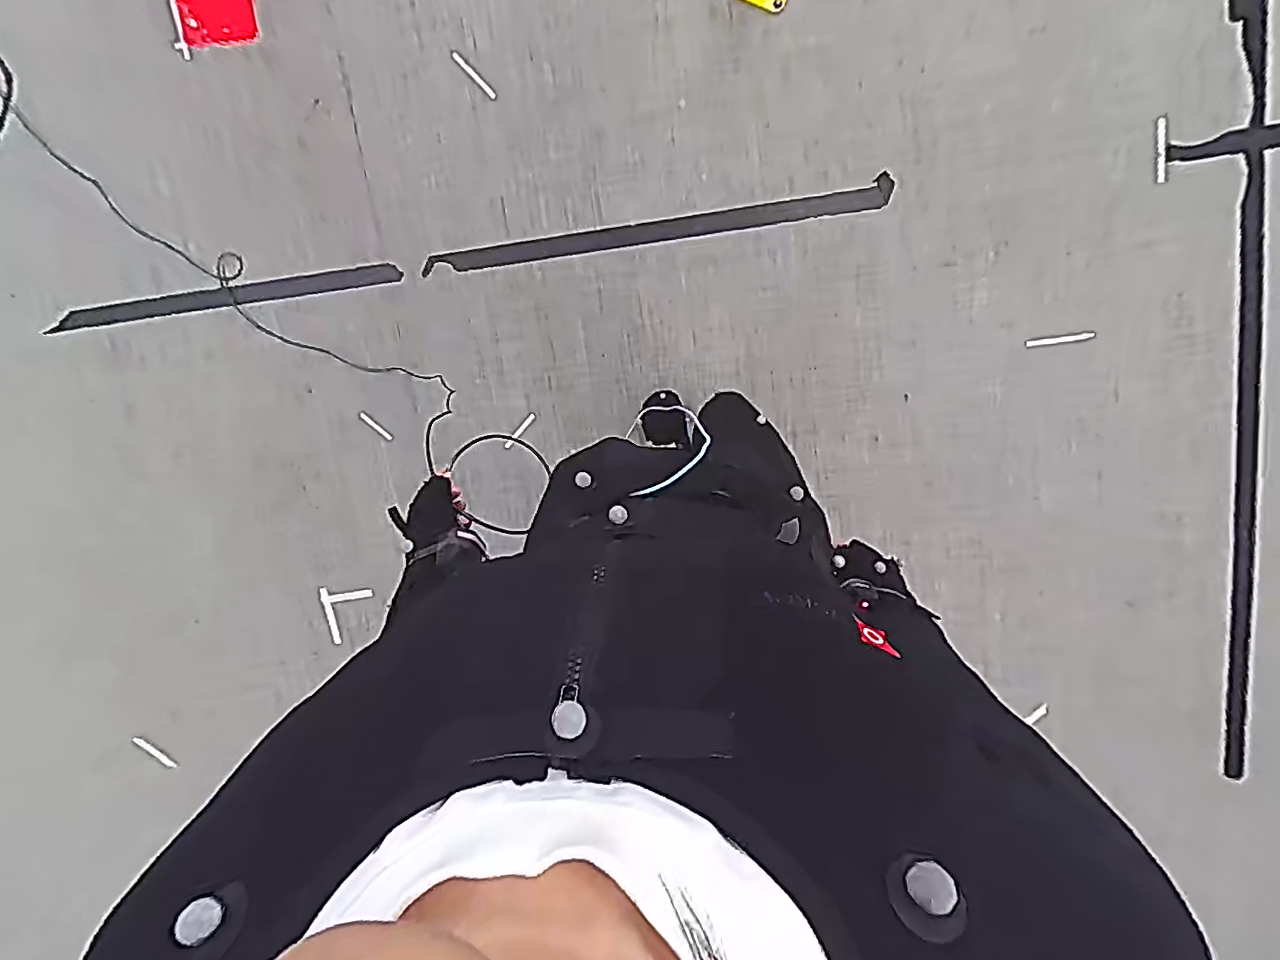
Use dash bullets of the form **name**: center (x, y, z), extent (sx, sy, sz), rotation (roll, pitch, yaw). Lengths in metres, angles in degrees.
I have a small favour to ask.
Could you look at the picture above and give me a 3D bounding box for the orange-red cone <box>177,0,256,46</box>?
- **orange-red cone**: center (-1.041, -1.136, 1.141), extent (0.199, 0.360, 0.198), rotation (0, 100, 3)
